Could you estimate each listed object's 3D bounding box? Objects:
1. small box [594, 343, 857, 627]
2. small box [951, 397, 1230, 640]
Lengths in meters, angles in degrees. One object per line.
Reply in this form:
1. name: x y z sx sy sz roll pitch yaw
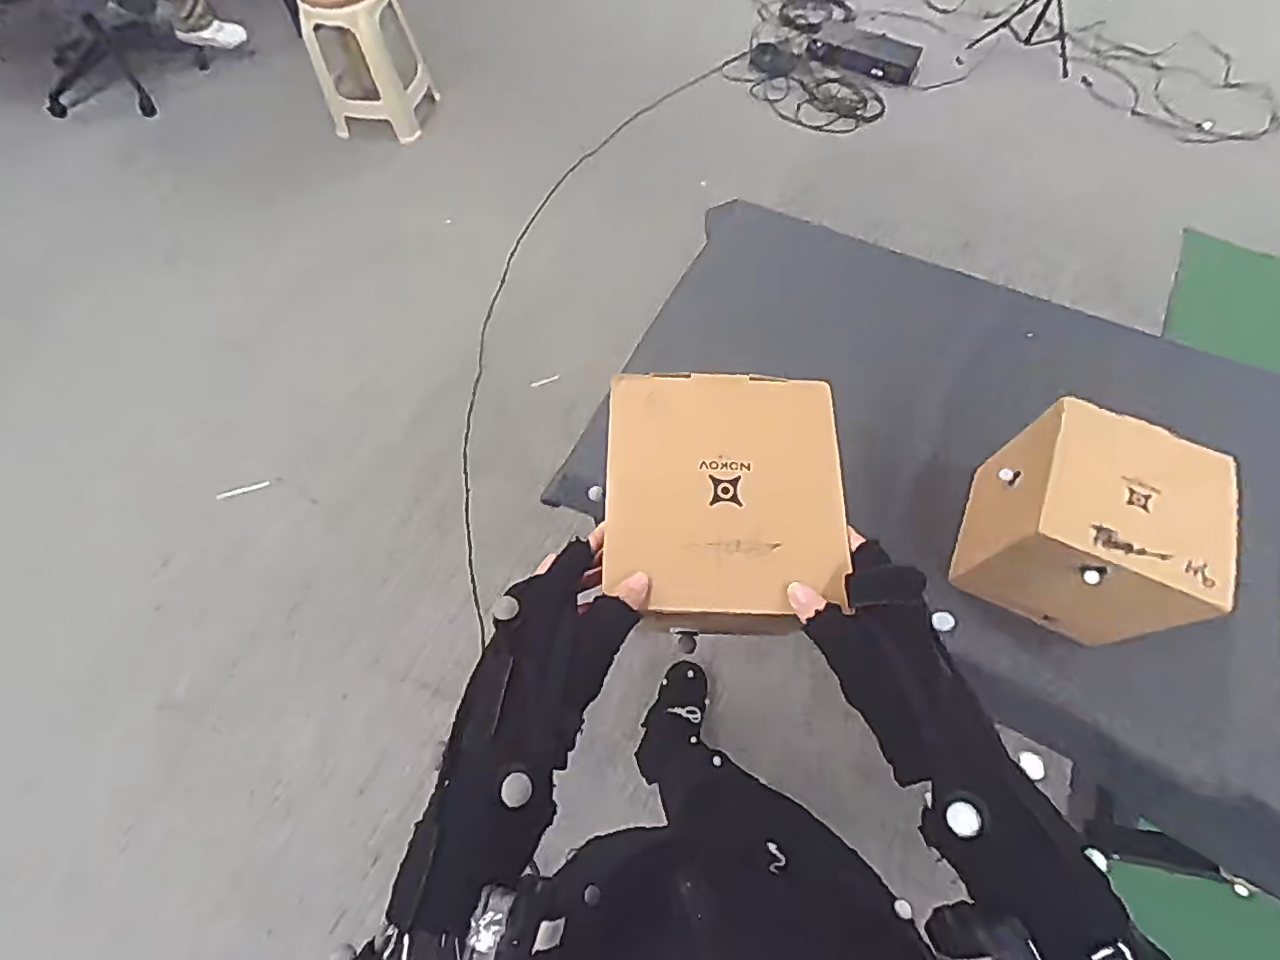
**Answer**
1. small box: 0.056 0.016 0.434 0.168 0.176 0.179 4 70 1
2. small box: 0.474 0.048 0.591 0.168 0.176 0.179 24 65 12
